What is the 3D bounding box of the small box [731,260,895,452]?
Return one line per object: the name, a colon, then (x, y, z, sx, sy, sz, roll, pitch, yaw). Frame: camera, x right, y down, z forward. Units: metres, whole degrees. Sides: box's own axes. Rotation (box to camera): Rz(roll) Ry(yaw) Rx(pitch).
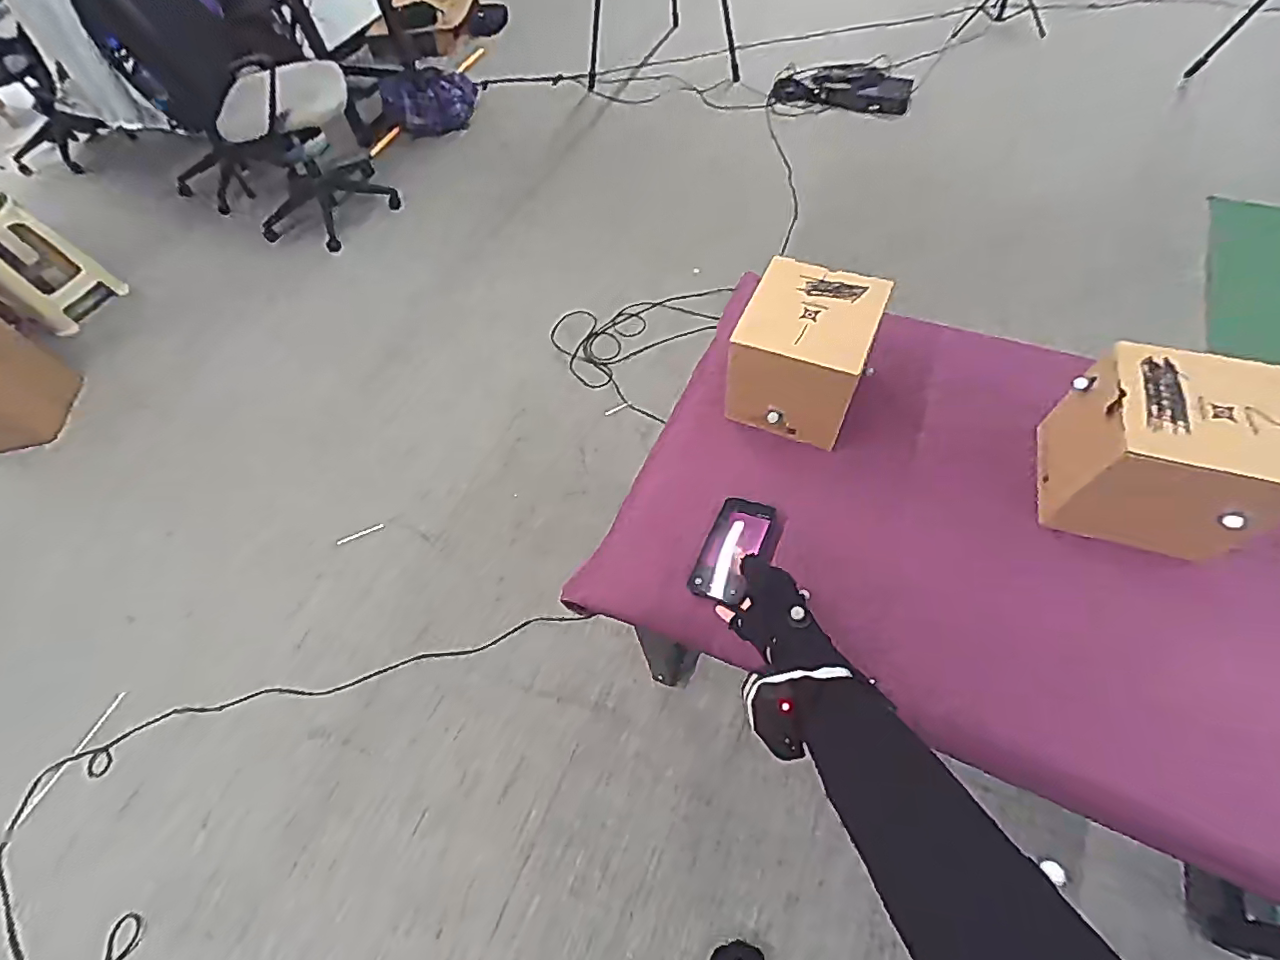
small box: (0.234, -0.172, 0.765, 0.168, 0.176, 0.179, 21, 64, 18)
